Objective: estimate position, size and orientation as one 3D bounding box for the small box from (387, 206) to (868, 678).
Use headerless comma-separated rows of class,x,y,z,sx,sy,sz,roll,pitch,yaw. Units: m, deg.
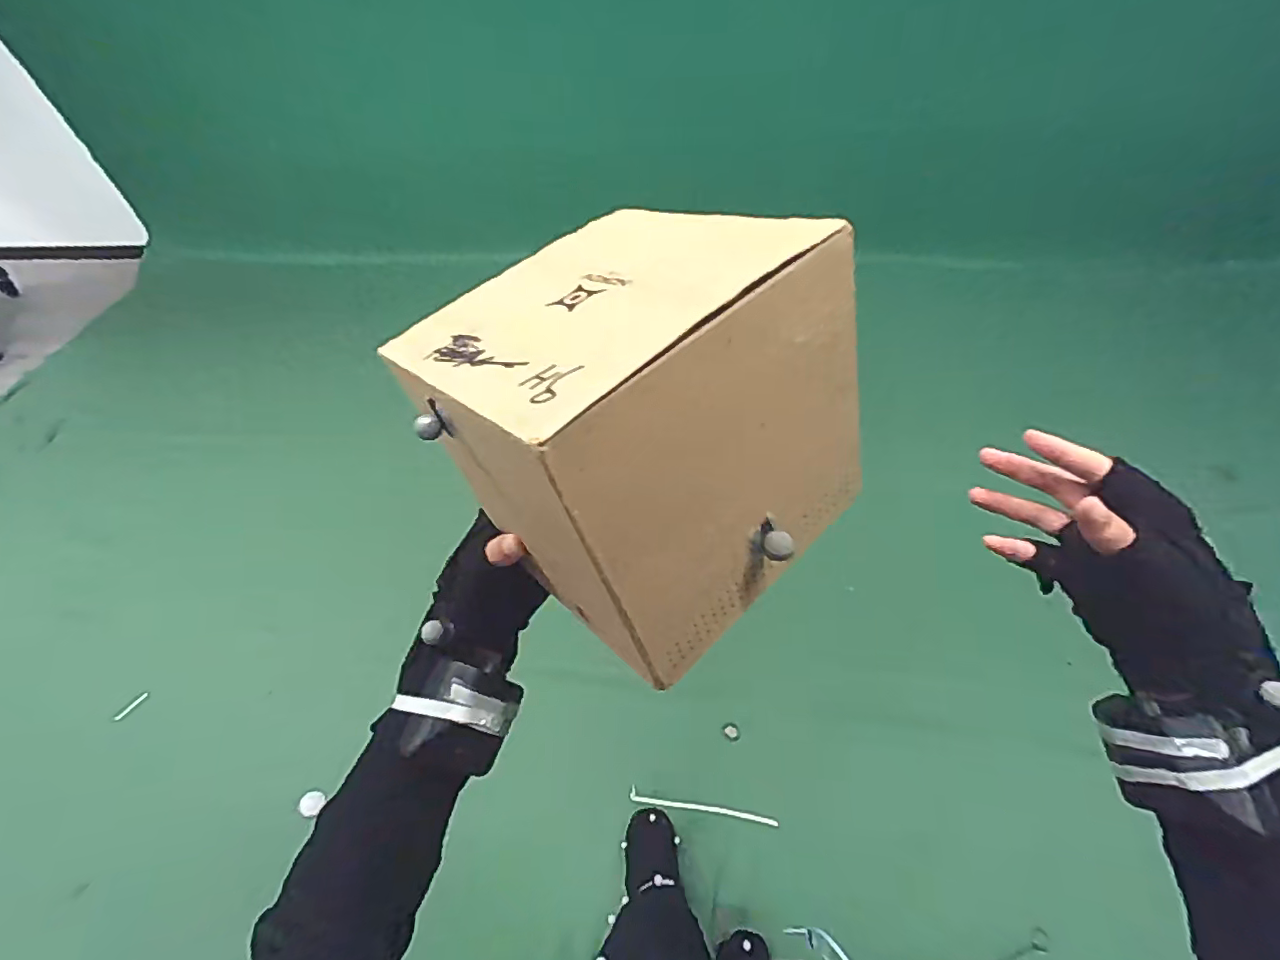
small box,0.004,-0.033,0.302,0.179,0.176,0.168,-38,41,-21
